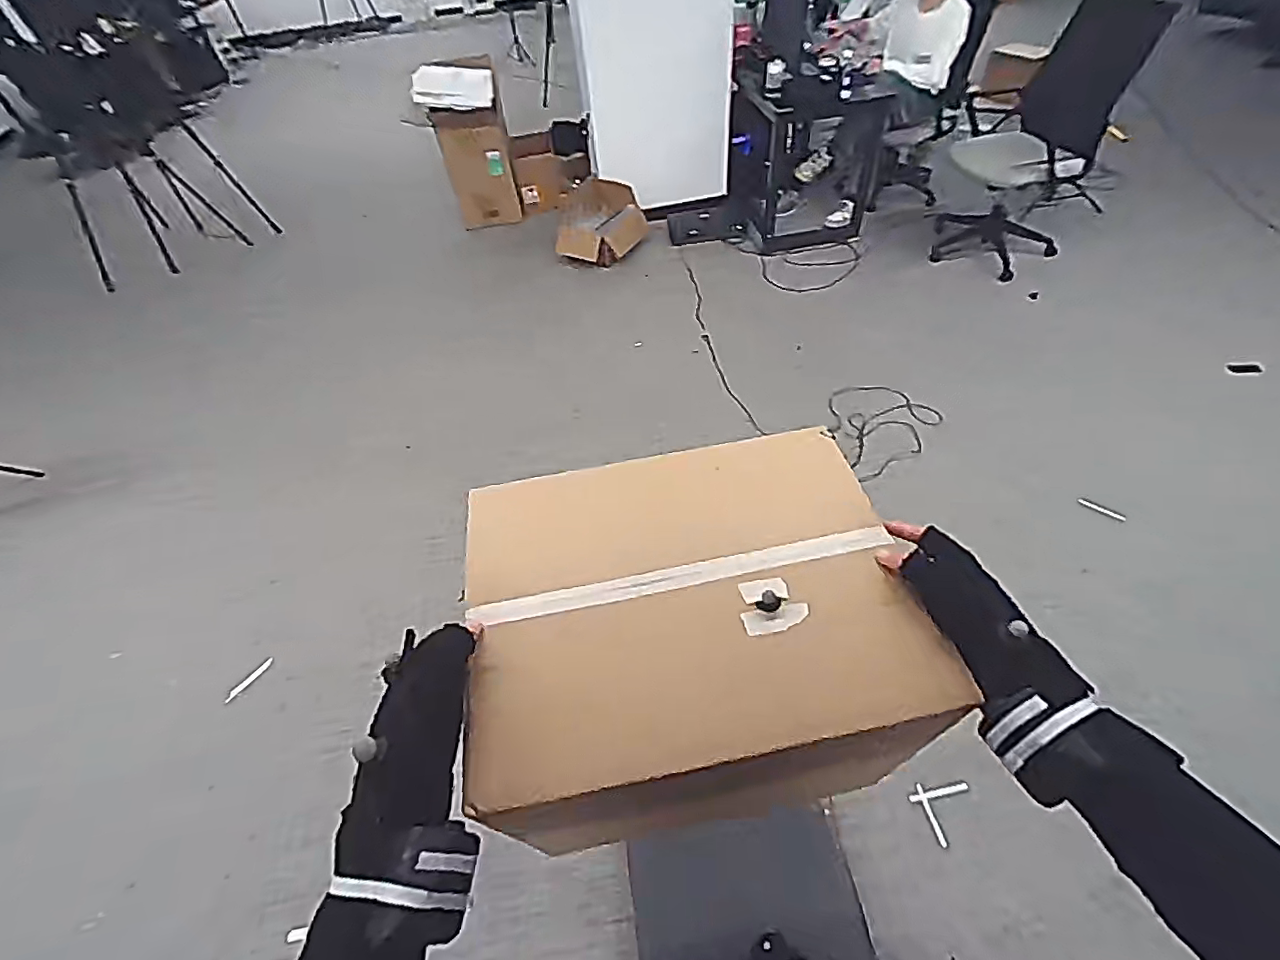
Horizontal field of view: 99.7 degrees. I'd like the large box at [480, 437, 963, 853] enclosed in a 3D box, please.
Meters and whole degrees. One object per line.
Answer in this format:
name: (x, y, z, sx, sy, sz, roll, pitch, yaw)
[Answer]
large box: (0.052, 0.195, 0.633, 0.408, 0.320, 0.320, -10, 51, -4)
